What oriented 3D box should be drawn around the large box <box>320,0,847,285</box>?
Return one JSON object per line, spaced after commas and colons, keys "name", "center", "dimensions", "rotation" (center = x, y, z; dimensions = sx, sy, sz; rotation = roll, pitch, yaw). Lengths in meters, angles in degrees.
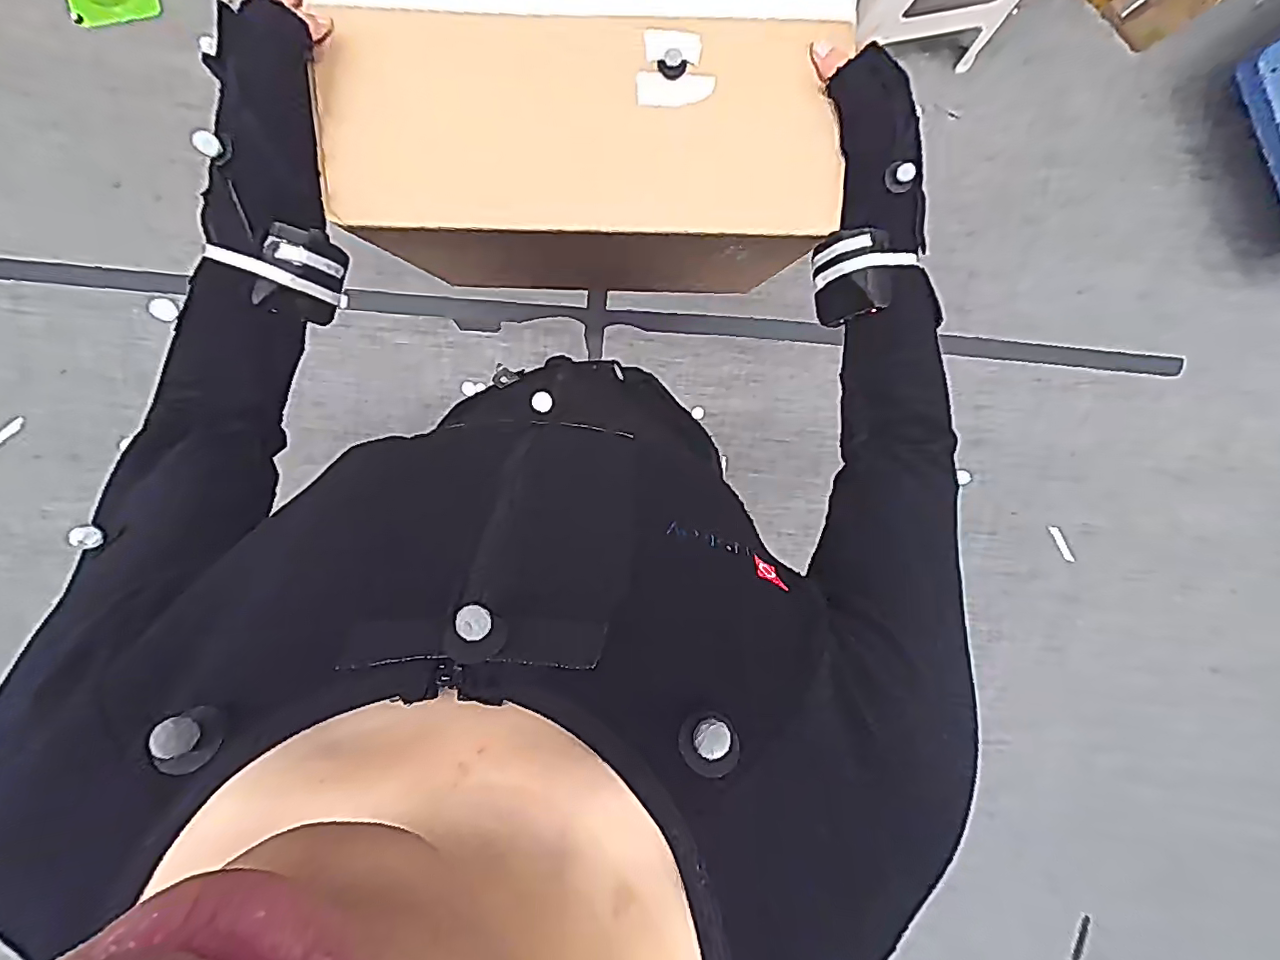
{"name": "large box", "center": [-0.046, -0.387, 0.553], "dimensions": [0.408, 0.320, 0.320], "rotation": [0, 101, -2]}
